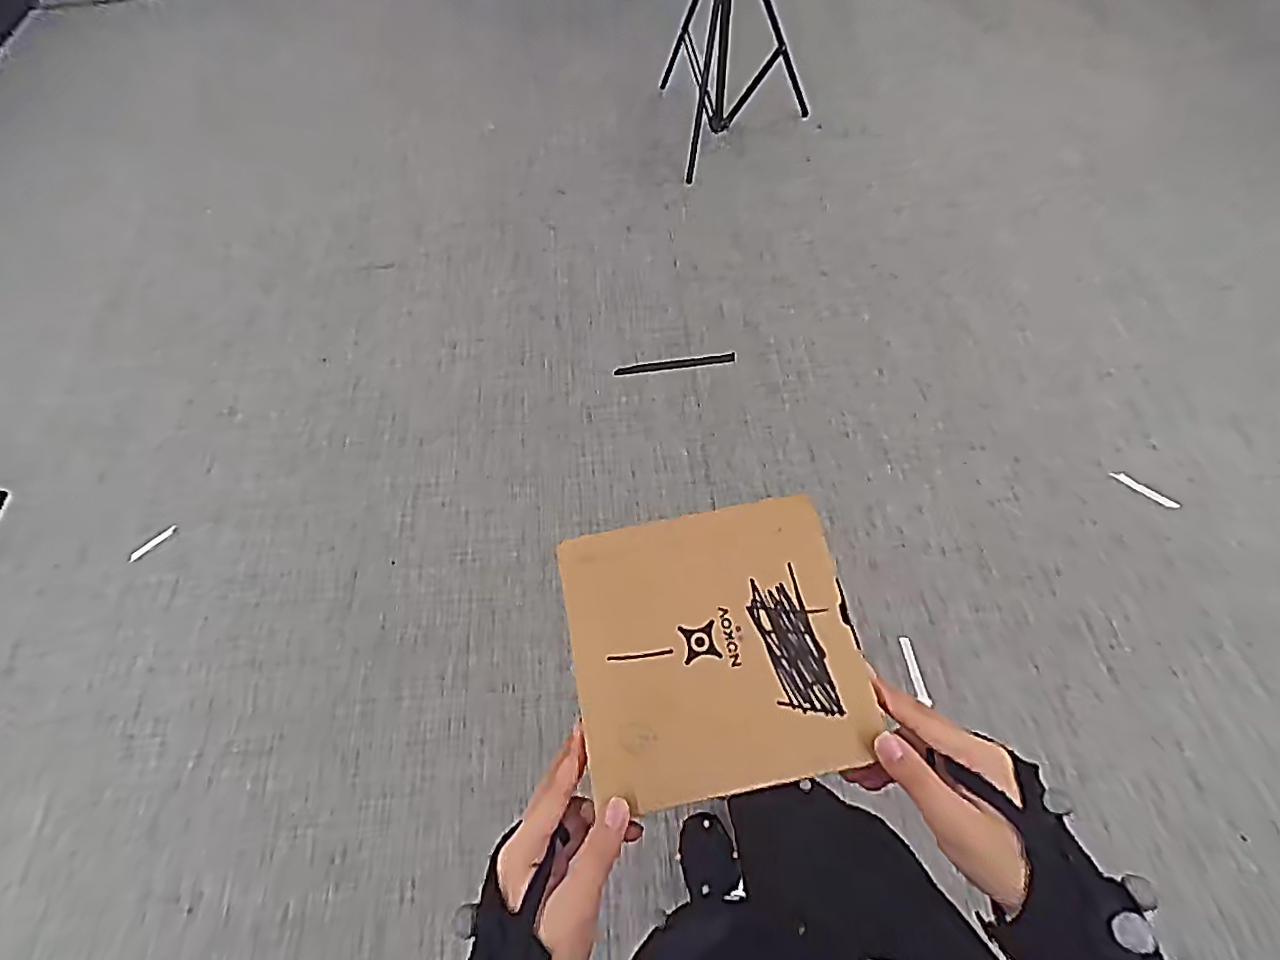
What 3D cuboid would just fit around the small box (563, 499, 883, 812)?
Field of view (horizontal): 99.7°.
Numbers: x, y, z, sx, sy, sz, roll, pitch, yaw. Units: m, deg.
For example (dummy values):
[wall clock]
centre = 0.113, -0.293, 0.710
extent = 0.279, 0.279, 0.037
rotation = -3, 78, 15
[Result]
[small box]
centre = 0.048, 0.129, 0.417
extent = 0.179, 0.176, 0.168
rotation = -11, 70, -2
